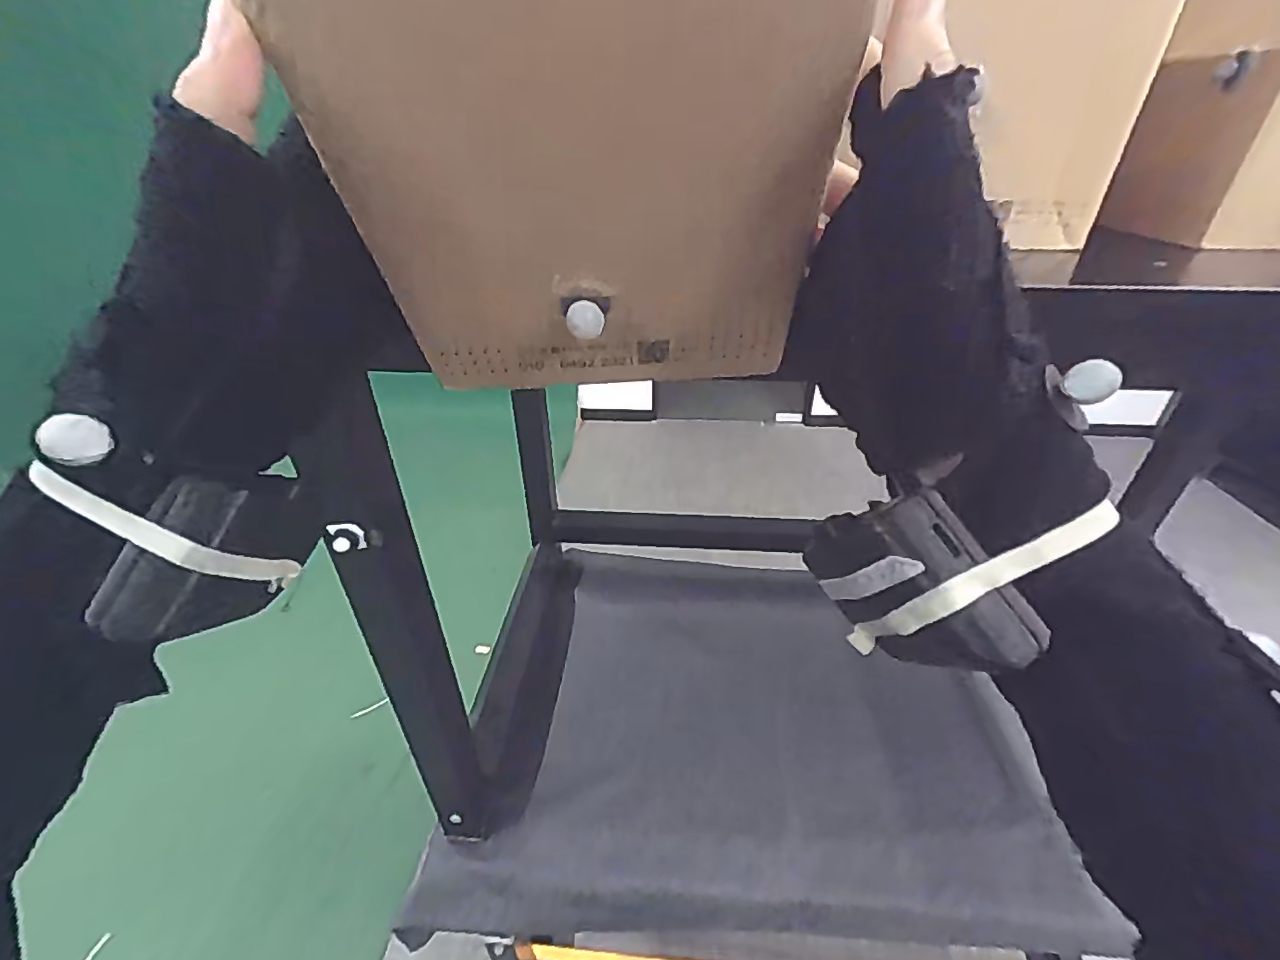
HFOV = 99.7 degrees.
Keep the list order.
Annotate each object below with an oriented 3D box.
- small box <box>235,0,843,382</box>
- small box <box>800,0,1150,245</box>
[{"bbox_3d":[-0.029,-0.165,0.237,0.168,0.176,0.179,-3,61,1],"label":"small box"},{"bbox_3d":[0.221,-0.276,0.401,0.168,0.176,0.179,4,32,6],"label":"small box"}]
